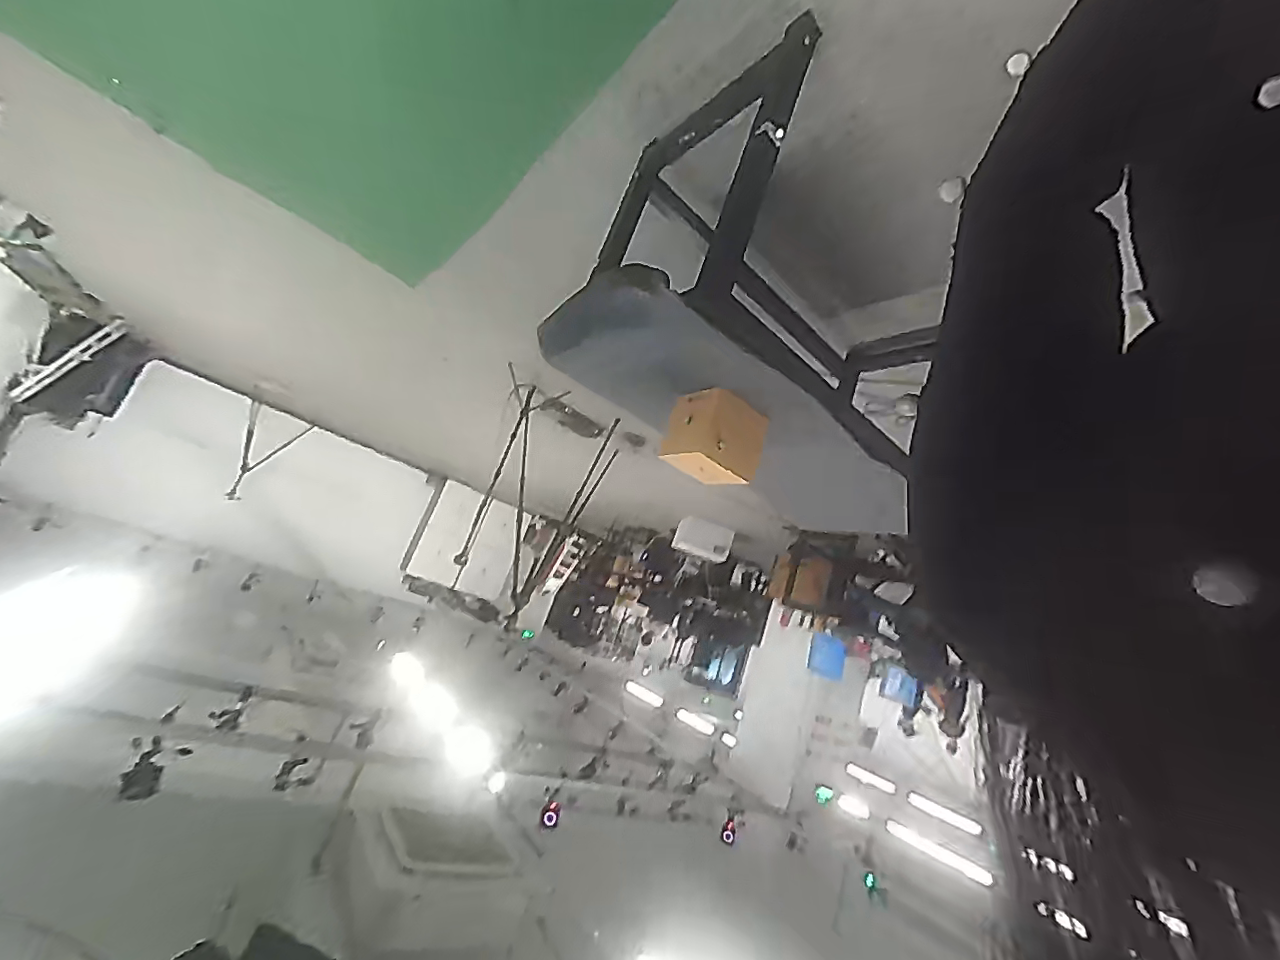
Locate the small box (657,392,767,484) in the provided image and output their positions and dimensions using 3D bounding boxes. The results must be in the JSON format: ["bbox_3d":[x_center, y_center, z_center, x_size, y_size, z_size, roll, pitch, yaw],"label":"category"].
[{"bbox_3d":[0.174,-0.102,1.295,0.179,0.176,0.168,28,165,-31],"label":"small box"}]
